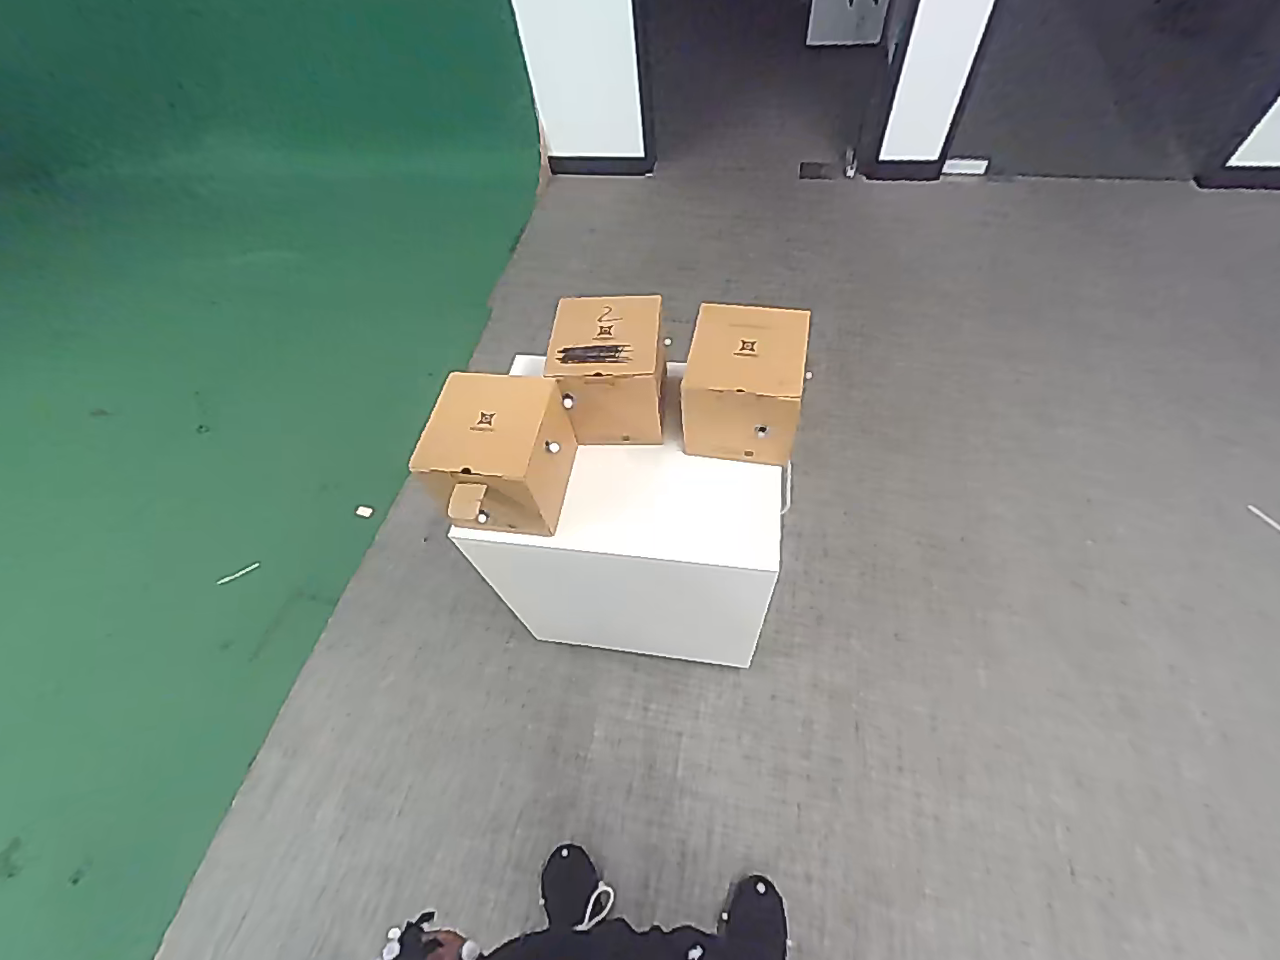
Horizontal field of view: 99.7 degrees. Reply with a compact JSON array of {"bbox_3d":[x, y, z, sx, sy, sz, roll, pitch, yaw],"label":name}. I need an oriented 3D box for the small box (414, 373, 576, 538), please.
[{"bbox_3d":[-0.200,-0.036,0.811,0.168,0.176,0.179,5,58,9],"label":"small box"}]

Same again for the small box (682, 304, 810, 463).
[{"bbox_3d":[0.164,-0.146,0.843,0.168,0.176,0.179,8,58,11],"label":"small box"}]
